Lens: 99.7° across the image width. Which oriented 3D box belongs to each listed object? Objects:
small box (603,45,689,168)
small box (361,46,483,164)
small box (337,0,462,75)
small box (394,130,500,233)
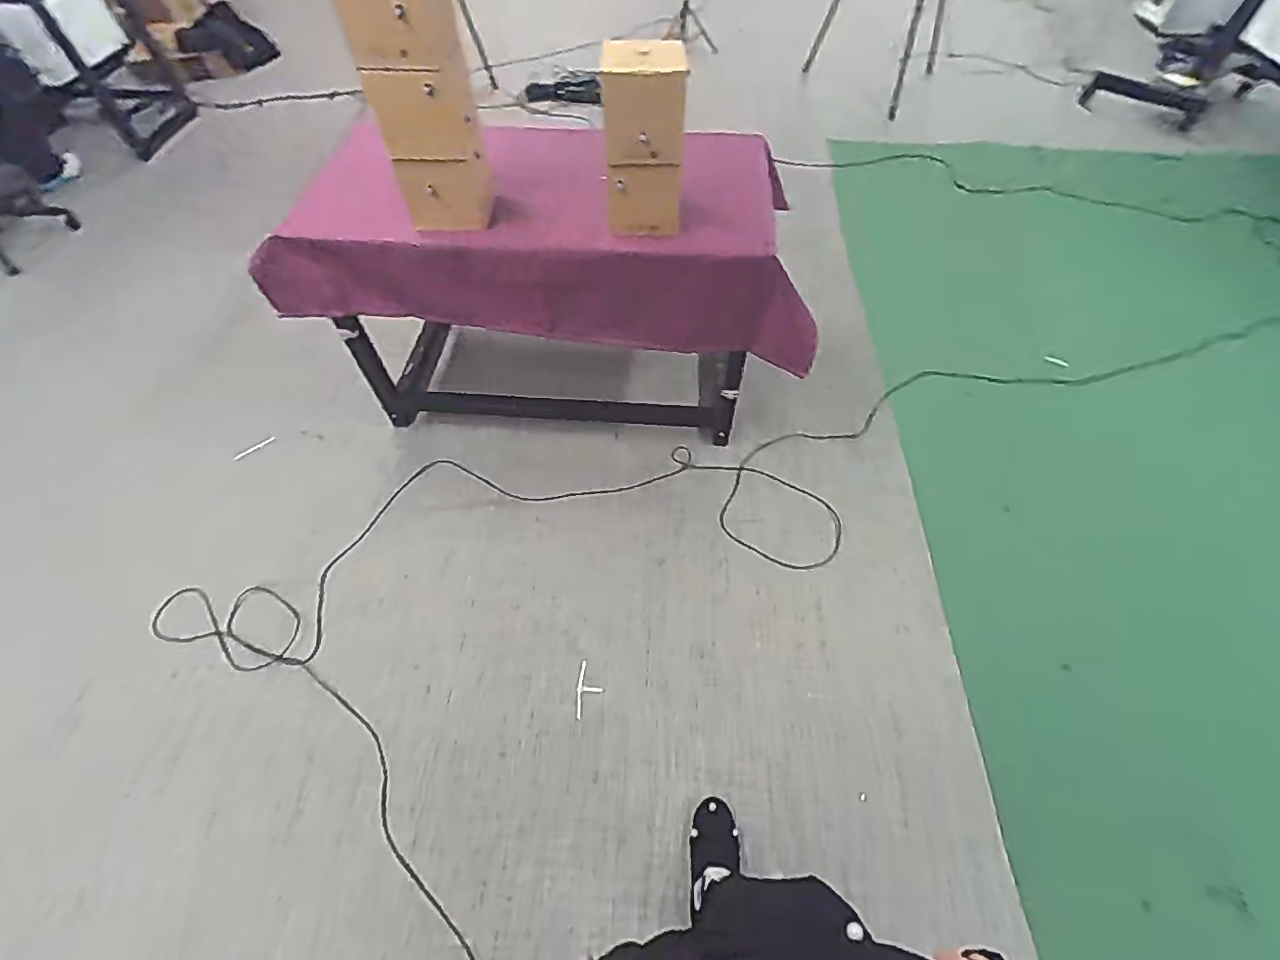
[{"bbox_3d":[0.013,-0.782,1.133,0.168,0.176,0.179,0,54,1],"label":"small box"},{"bbox_3d":[-0.453,-0.799,1.154,0.179,0.176,0.168,1,55,0],"label":"small box"},{"bbox_3d":[-0.451,-0.894,1.022,0.168,0.176,0.179,4,54,1],"label":"small box"},{"bbox_3d":[-0.450,-0.710,1.290,0.179,0.176,0.168,1,56,1],"label":"small box"}]
